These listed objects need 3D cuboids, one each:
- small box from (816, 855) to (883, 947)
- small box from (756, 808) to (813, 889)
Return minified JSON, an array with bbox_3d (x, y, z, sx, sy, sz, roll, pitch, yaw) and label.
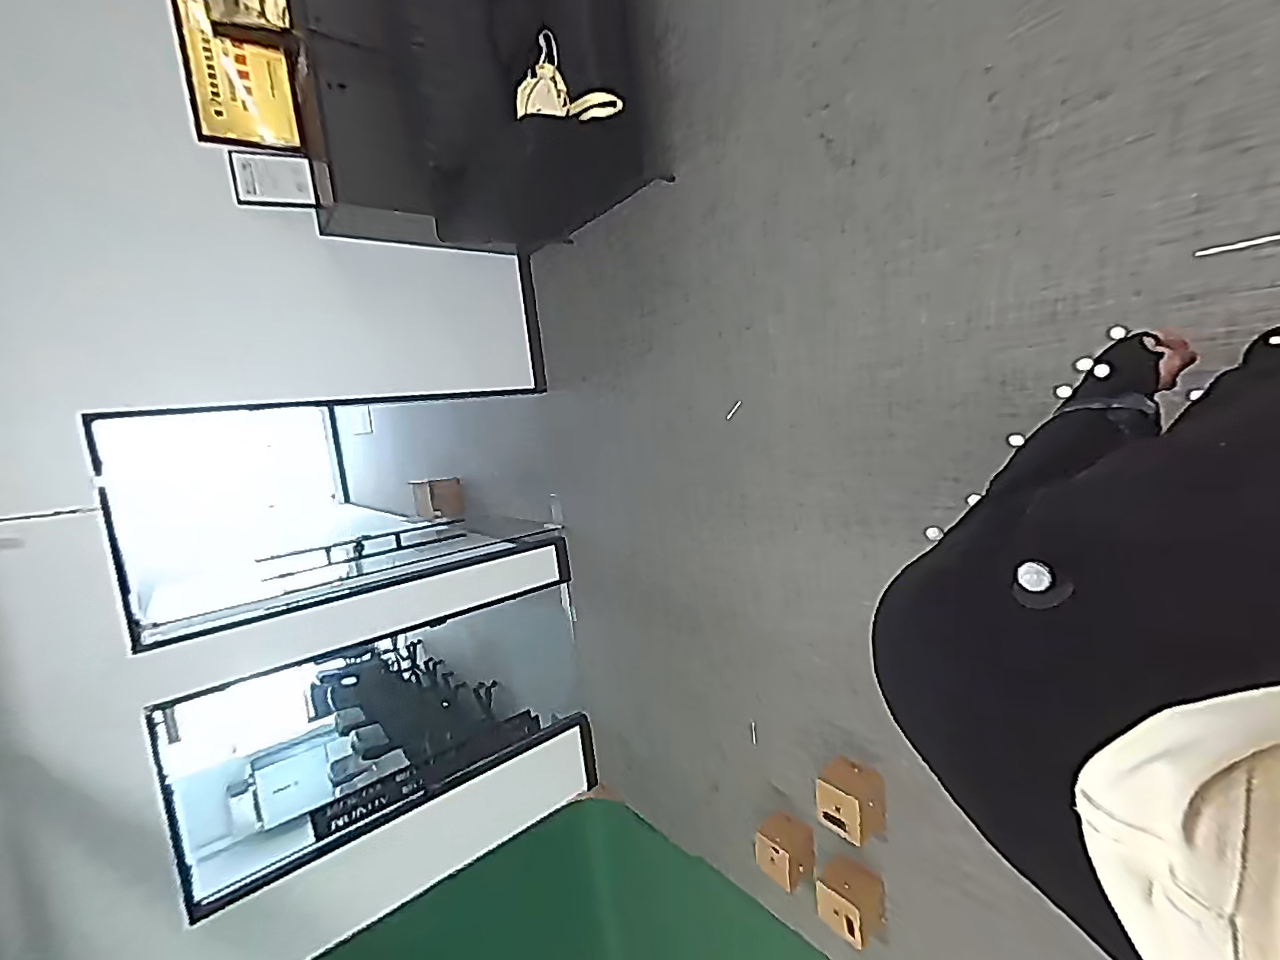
[{"bbox_3d":[0.776,1.536,1.990,0.179,0.176,0.168,4,102,52],"label":"small box"},{"bbox_3d":[0.595,1.503,2.214,0.168,0.176,0.179,7,105,51],"label":"small box"}]
